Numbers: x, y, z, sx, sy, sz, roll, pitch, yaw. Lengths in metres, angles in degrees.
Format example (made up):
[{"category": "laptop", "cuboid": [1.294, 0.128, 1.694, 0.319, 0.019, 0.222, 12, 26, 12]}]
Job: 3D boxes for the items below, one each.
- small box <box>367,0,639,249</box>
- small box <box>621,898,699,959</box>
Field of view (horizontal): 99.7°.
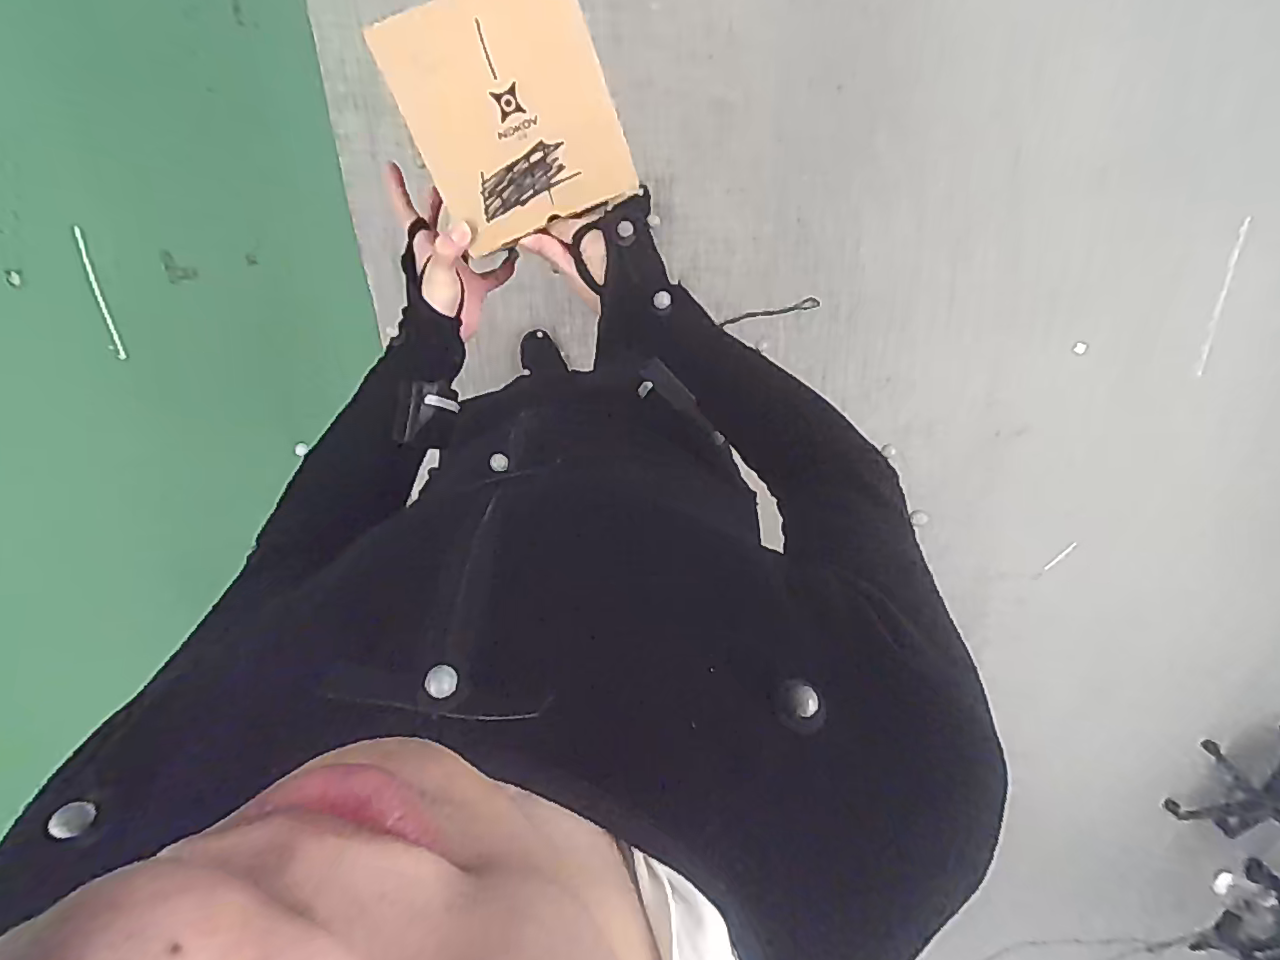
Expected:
[{"category": "small box", "cuboid": [-0.115, -0.336, 0.510, 0.168, 0.176, 0.179, -22, 115, -2]}, {"category": "small box", "cuboid": [0.051, 1.105, 1.230, 0.168, 0.176, 0.179, -9, 110, -4]}]
